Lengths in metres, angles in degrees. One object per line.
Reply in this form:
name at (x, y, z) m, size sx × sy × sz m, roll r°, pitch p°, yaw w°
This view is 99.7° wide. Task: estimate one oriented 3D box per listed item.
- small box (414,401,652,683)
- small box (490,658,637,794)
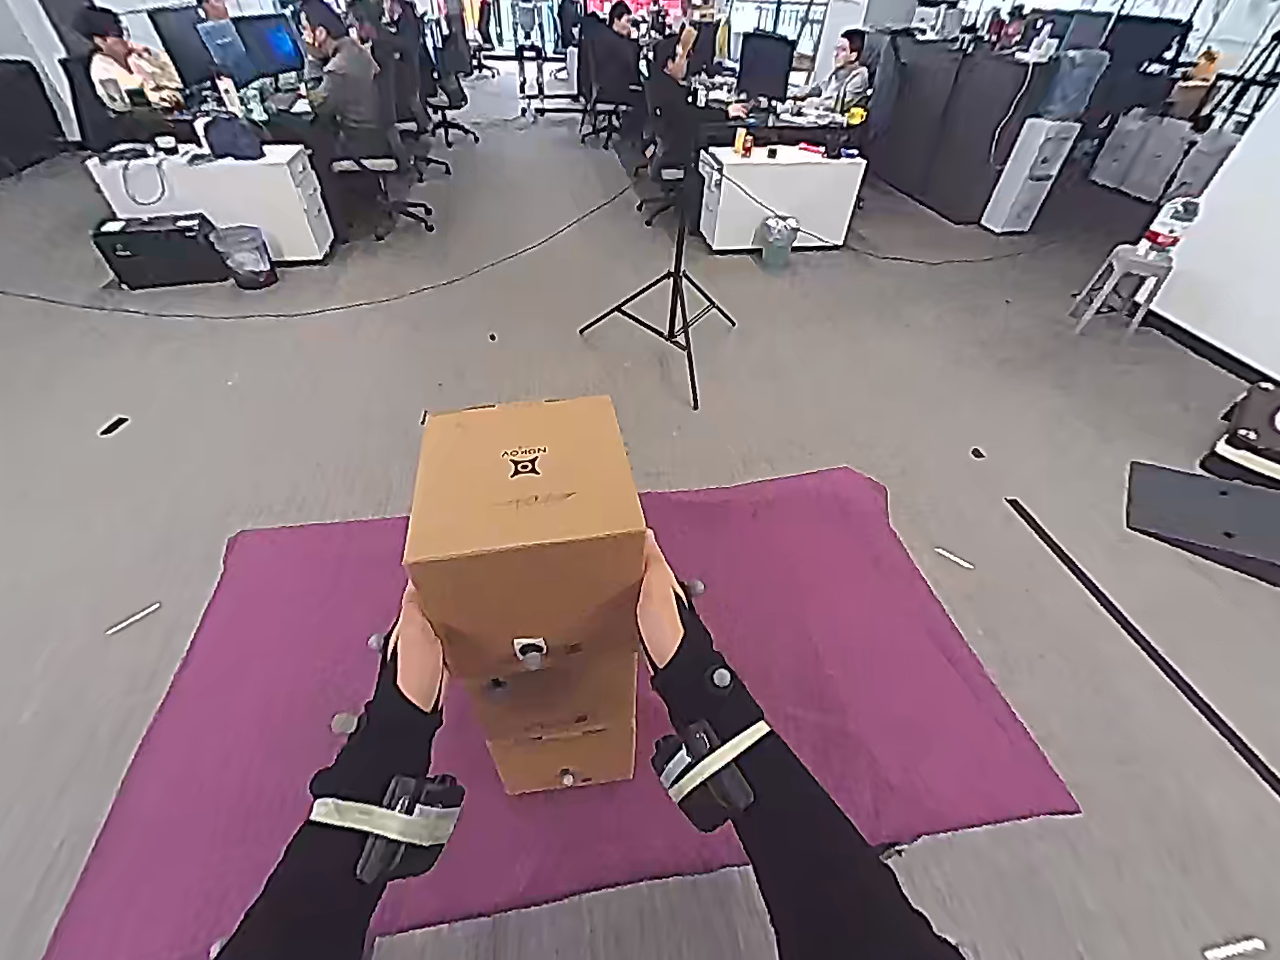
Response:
small box at (-0.090, 0.052, 0.486) m, size 0.168 × 0.176 × 0.179 m, roll -8°, pitch 44°, yaw -9°
small box at (-0.098, 0.285, 0.716) m, size 0.168 × 0.176 × 0.179 m, roll -4°, pitch 43°, yaw -6°
